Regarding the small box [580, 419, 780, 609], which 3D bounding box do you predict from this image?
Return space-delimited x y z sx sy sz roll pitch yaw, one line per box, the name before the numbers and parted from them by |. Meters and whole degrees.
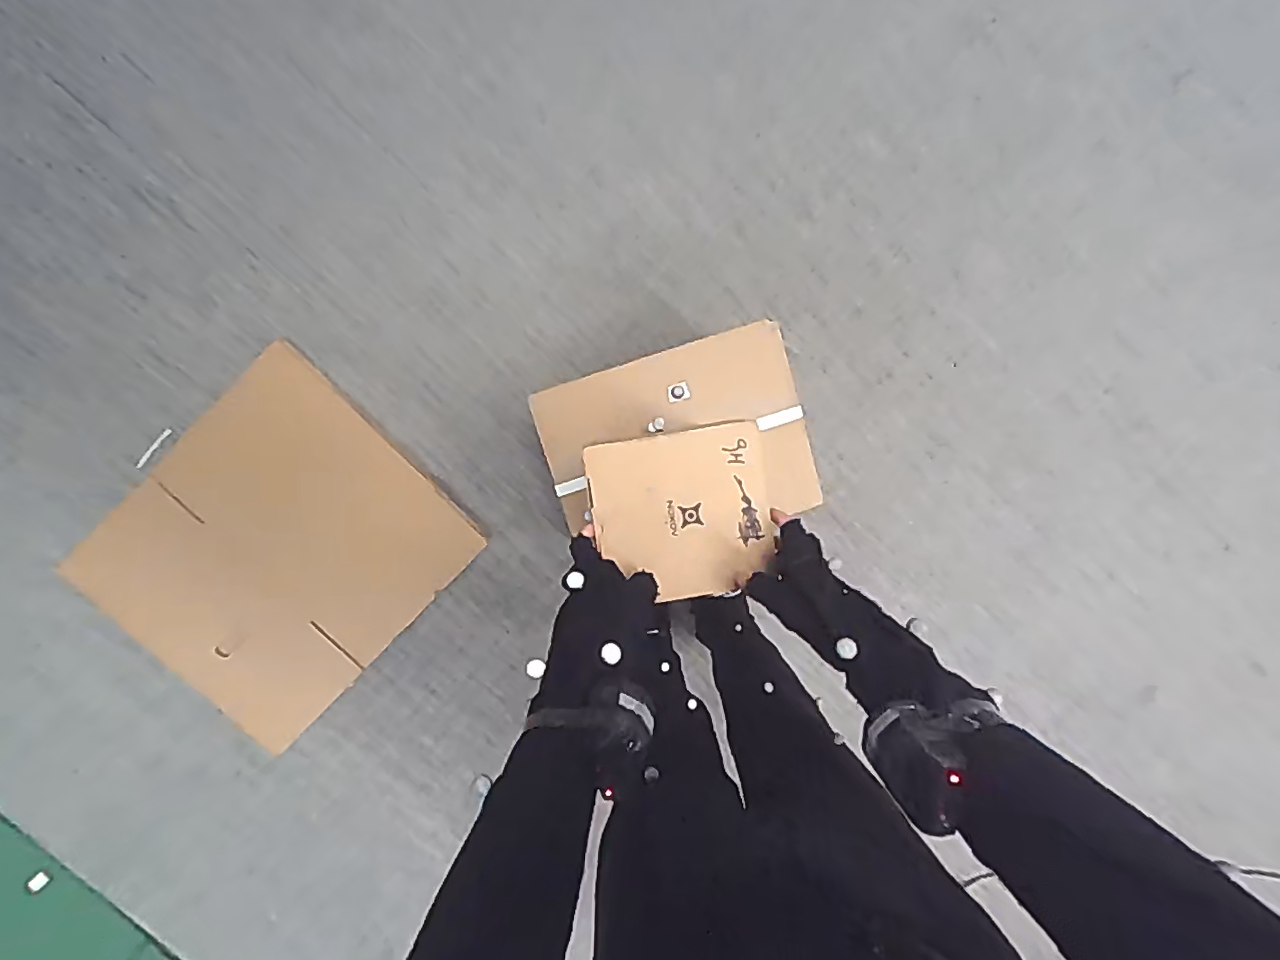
small box | 0.040 0.032 0.618 0.179 0.176 0.168 -12 93 -1
